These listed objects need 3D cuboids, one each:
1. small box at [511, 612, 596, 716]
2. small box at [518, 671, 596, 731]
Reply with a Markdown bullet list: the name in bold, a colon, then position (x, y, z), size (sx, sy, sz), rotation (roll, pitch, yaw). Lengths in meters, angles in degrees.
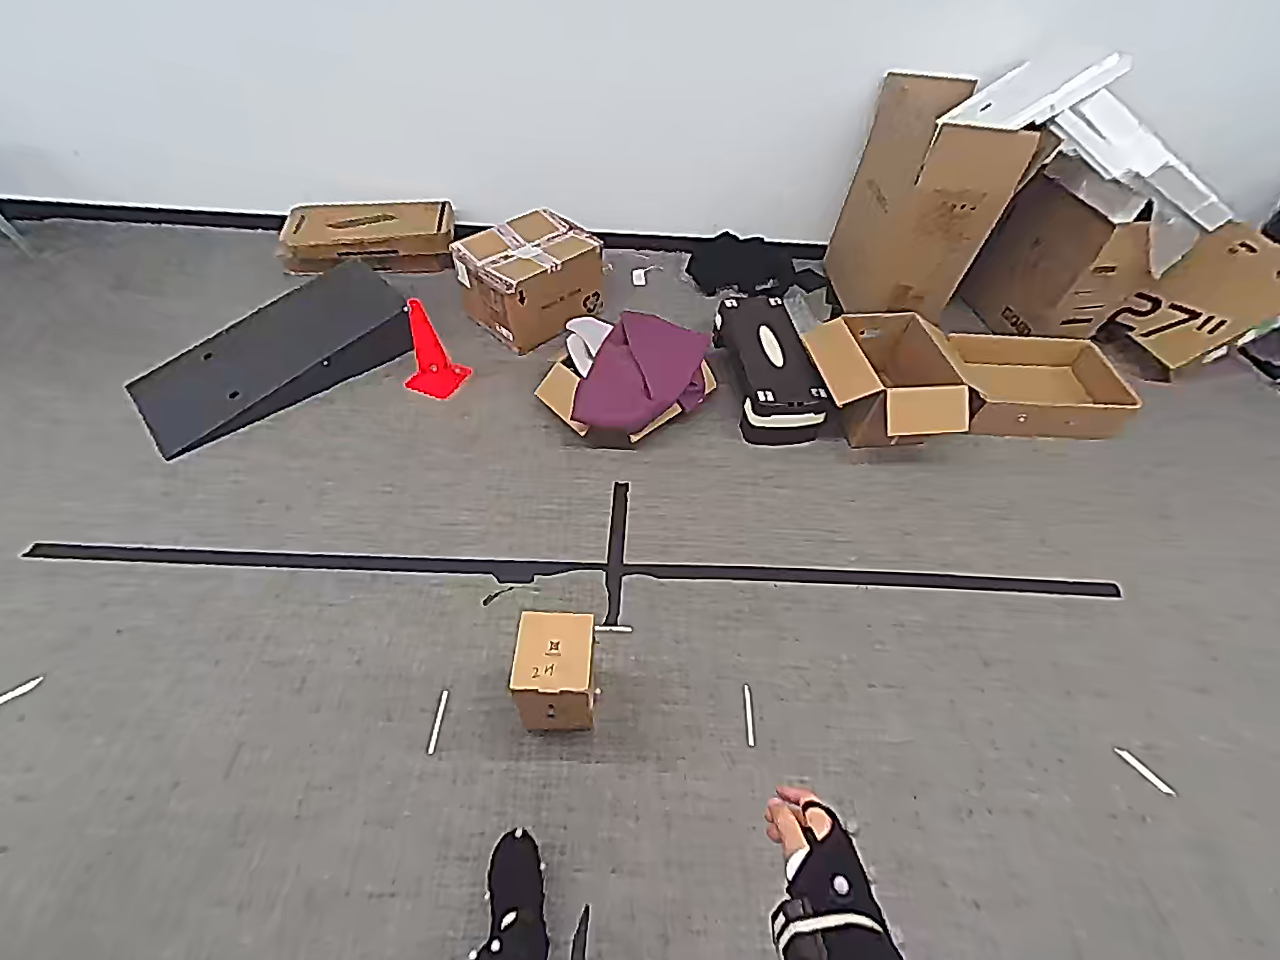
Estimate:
- **small box**: position (-0.187, 0.419, 1.226), size (0.168, 0.176, 0.179), rotation (3, 52, -1)
- **small box**: position (-0.200, 0.522, 1.355), size (0.179, 0.176, 0.168), rotation (0, 52, -4)
